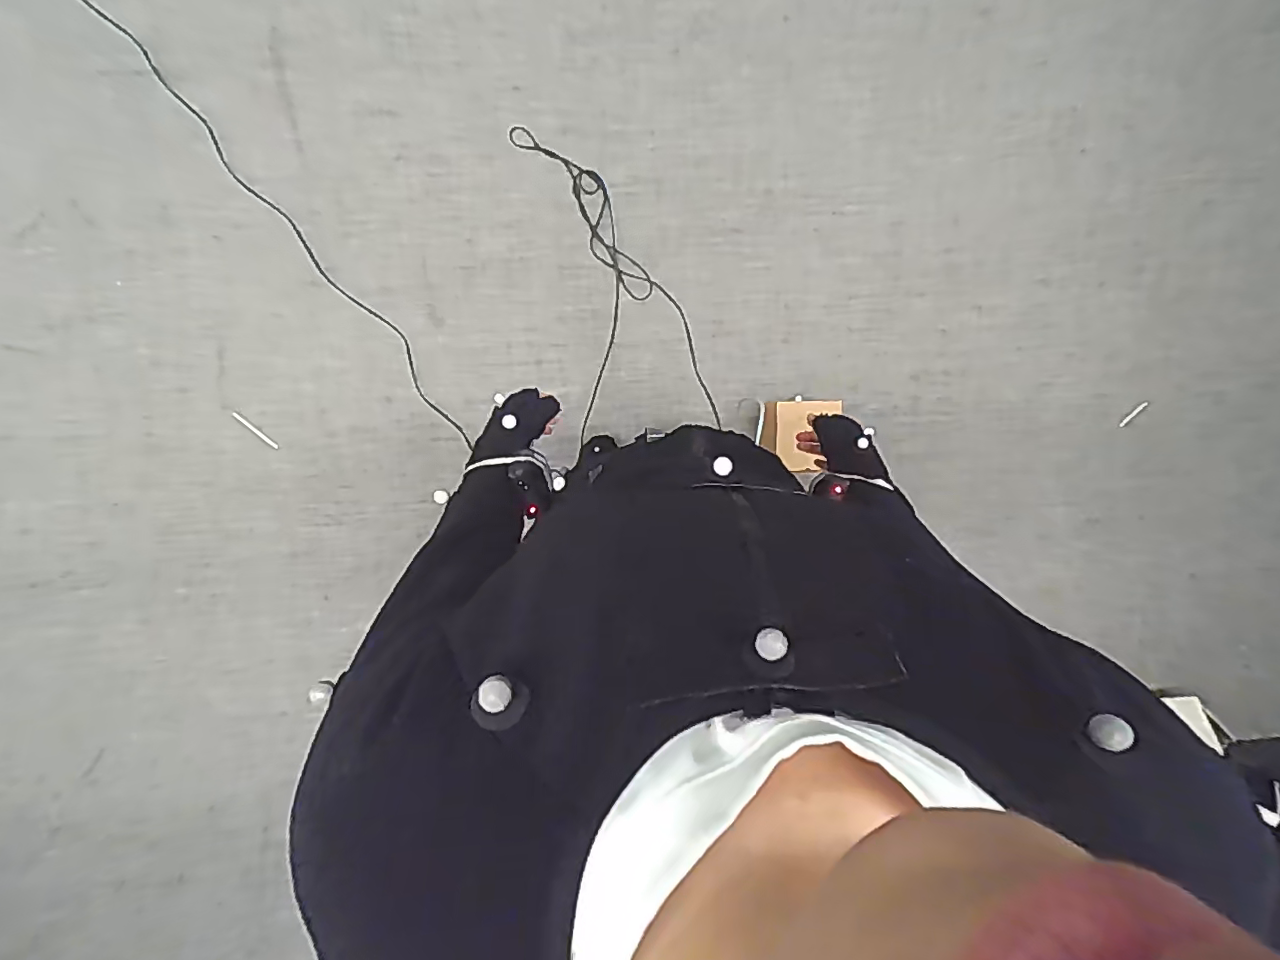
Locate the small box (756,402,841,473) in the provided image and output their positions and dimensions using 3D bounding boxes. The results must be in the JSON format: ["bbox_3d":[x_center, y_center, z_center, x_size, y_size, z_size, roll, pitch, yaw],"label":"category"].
[{"bbox_3d":[0.408,-0.113,1.414,0.168,0.176,0.179,-1,96,-4],"label":"small box"}]
